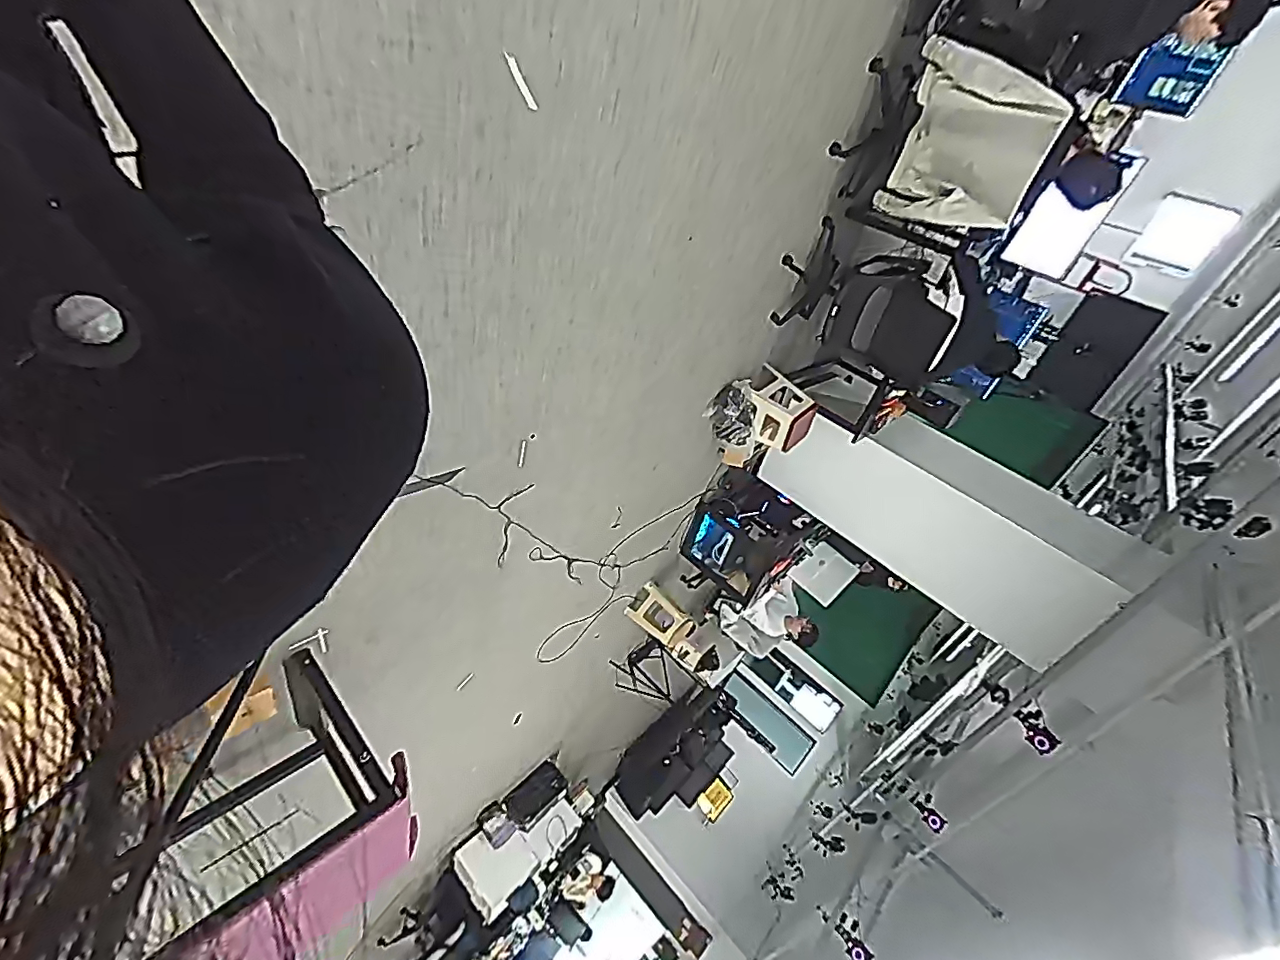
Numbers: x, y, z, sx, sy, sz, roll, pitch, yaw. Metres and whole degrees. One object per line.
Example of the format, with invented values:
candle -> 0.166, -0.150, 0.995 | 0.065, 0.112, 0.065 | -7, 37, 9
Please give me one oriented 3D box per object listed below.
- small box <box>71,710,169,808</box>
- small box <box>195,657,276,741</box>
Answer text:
small box -> -1.598, 0.852, 1.665 | 0.168, 0.176, 0.179 | -25, 142, -43
small box -> -1.393, 0.747, 1.865 | 0.179, 0.176, 0.168 | -21, 140, -45
